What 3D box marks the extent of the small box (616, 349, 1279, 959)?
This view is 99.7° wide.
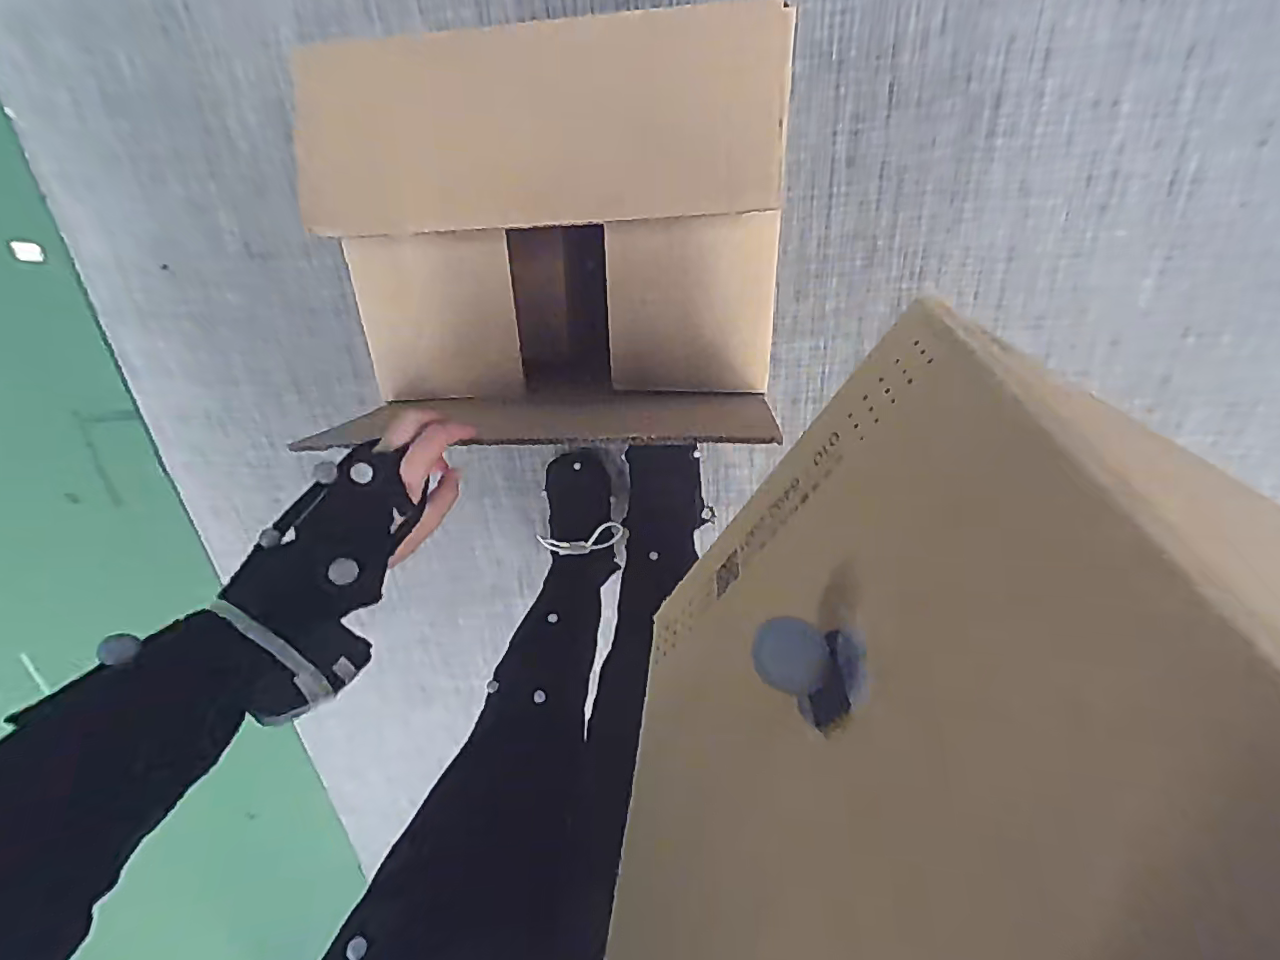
[{"bbox_3d":[0.104,0.085,0.154,0.179,0.176,0.168,26,124,-9],"label":"small box"}]
